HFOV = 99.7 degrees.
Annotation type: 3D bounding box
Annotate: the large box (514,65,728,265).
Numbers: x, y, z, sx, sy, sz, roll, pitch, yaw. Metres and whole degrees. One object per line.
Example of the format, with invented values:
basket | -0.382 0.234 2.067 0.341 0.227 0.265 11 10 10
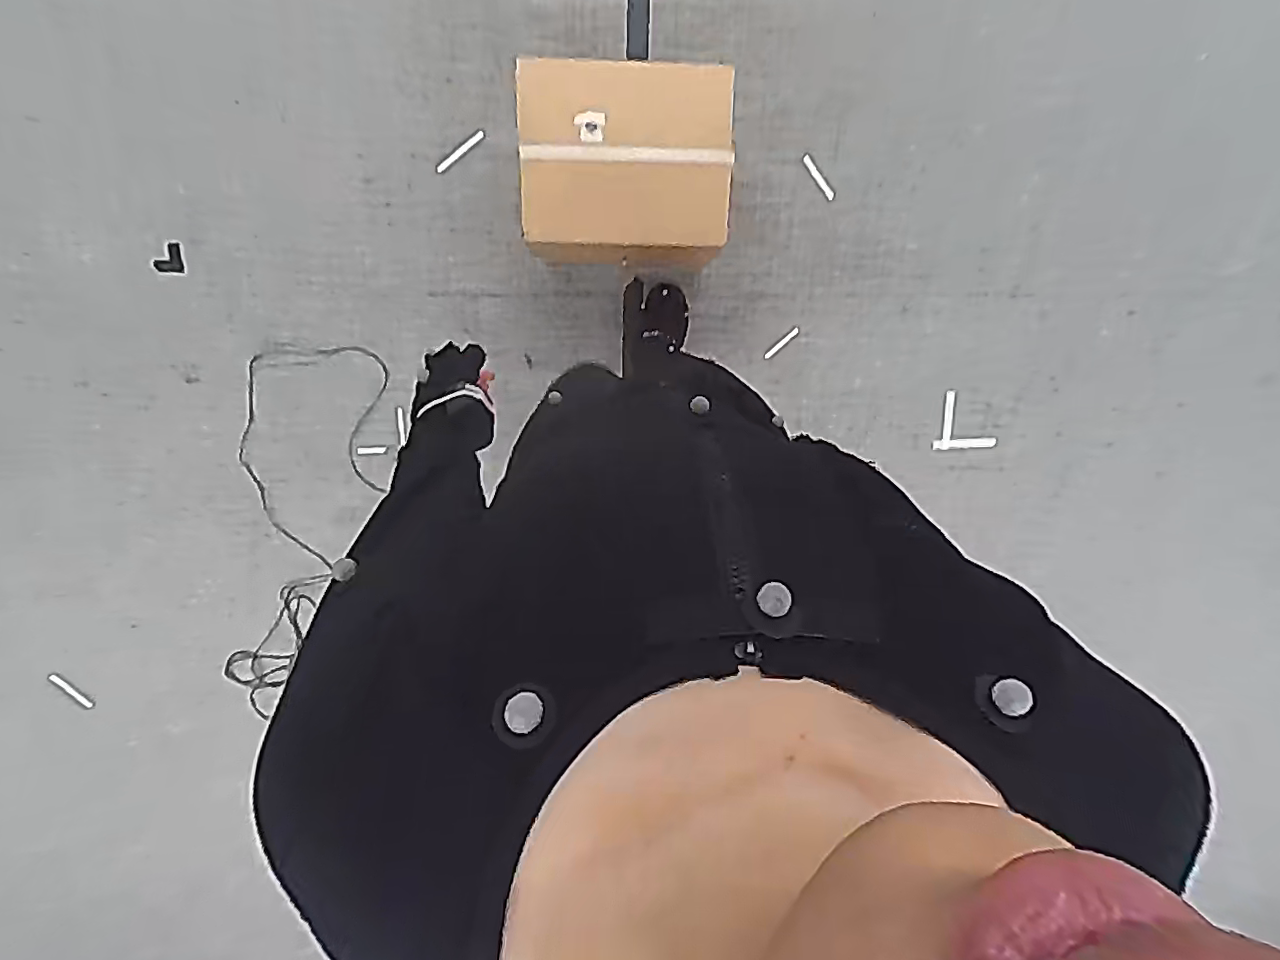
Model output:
large box | -0.036 -0.650 1.176 0.408 0.320 0.320 0 103 -2
